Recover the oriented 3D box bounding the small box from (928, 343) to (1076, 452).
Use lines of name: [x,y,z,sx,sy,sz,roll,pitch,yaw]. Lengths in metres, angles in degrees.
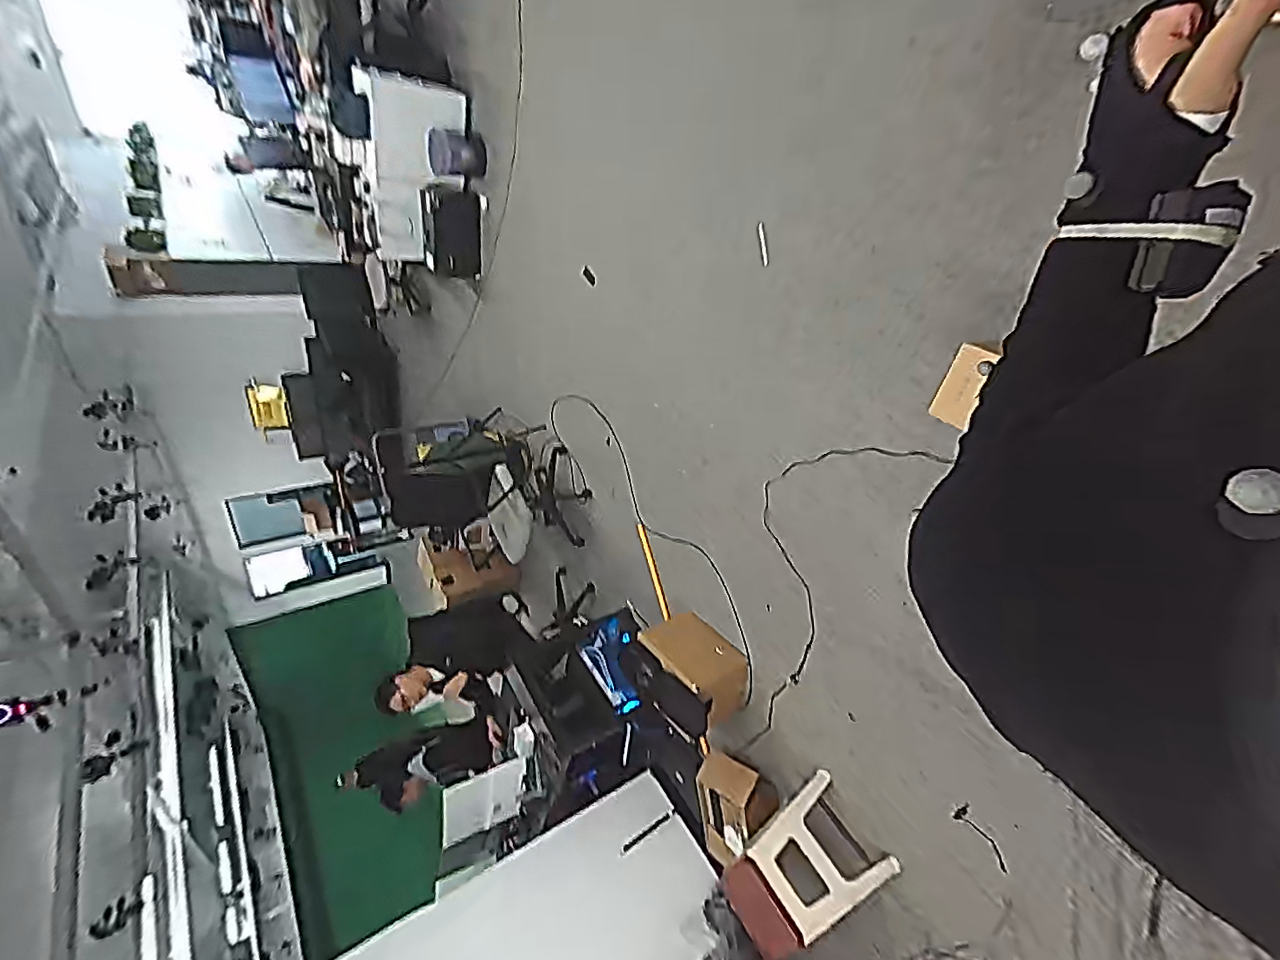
small box: [0.762,-0.182,1.138,0.179,0.176,0.168,44,134,40]
